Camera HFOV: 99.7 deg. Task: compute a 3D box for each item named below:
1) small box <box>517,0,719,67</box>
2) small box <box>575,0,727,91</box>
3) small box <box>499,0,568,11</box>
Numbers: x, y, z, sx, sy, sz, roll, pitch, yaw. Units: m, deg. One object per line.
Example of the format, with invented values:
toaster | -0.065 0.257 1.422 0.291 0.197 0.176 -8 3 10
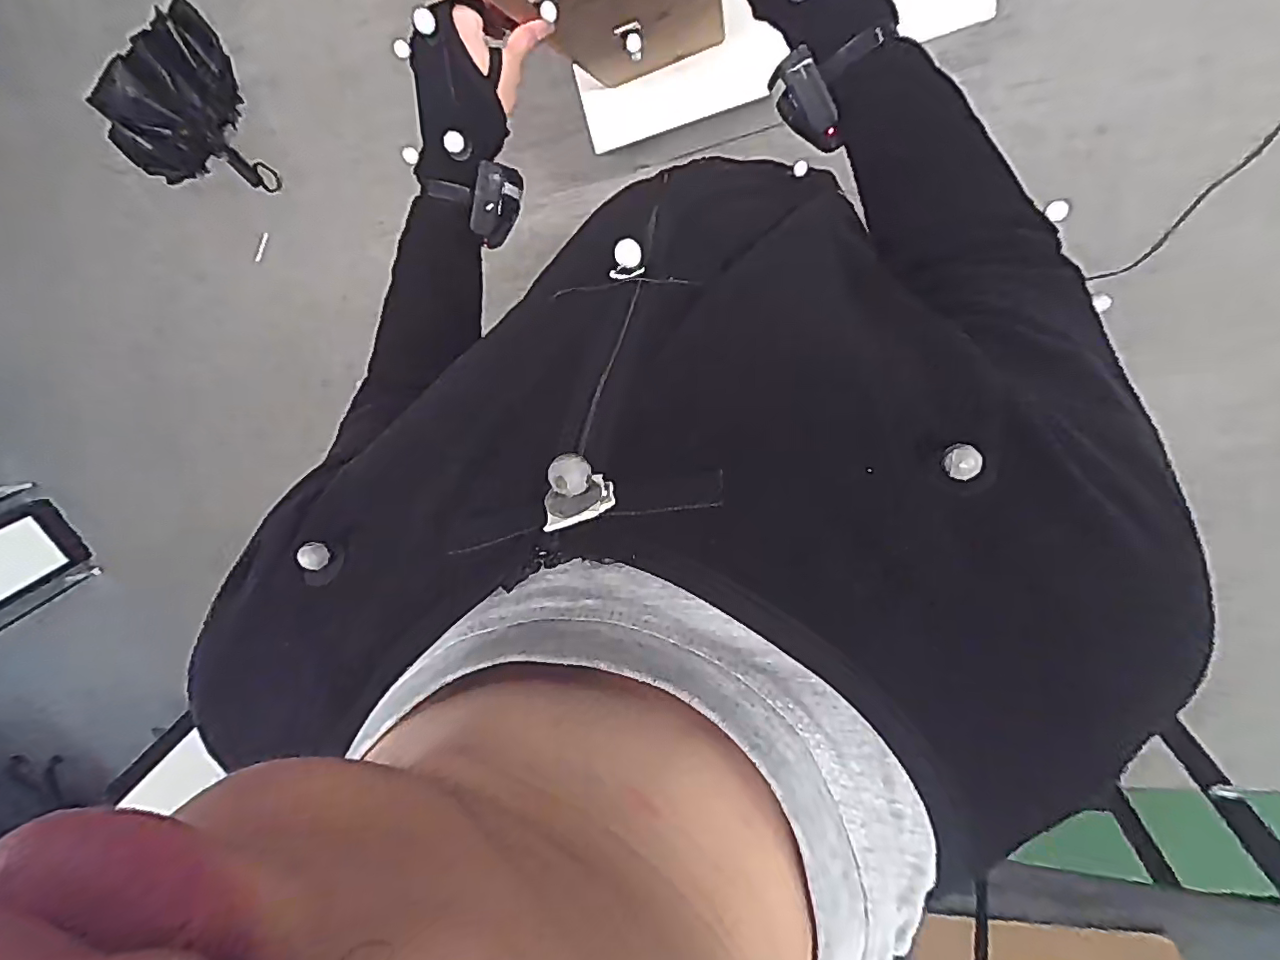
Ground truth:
small box | -0.032 -0.501 0.465 0.168 0.176 0.179 -12 115 18
small box | -0.001 -0.577 0.606 0.168 0.176 0.179 -10 114 16
small box | -0.061 -0.426 0.321 0.168 0.176 0.179 -11 112 17
